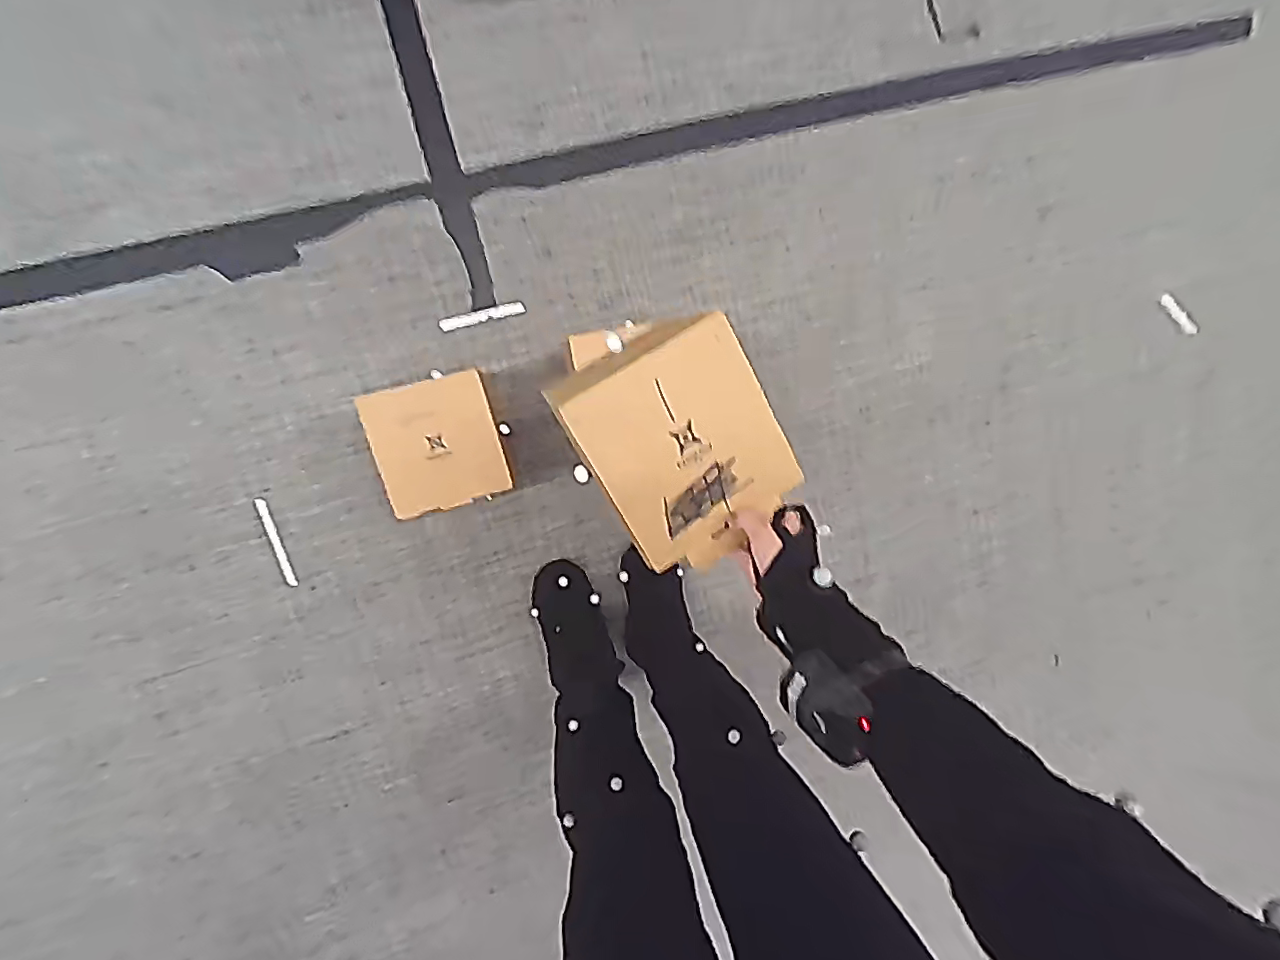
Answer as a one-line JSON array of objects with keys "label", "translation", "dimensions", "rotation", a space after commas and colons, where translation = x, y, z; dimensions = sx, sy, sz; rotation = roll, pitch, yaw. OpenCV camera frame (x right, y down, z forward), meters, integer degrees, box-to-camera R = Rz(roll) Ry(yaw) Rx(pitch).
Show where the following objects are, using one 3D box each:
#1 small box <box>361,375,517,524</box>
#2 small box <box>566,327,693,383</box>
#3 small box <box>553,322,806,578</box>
[{"label": "small box", "translation": [-0.287, -0.053, 0.817], "dimensions": [0.168, 0.176, 0.179], "rotation": [-17, 101, -10]}, {"label": "small box", "translation": [-0.013, -0.143, 0.860], "dimensions": [0.179, 0.176, 0.168], "rotation": [-11, 101, -11]}, {"label": "small box", "translation": [0.028, -0.040, 0.541], "dimensions": [0.168, 0.176, 0.179], "rotation": [-31, 108, -5]}]
